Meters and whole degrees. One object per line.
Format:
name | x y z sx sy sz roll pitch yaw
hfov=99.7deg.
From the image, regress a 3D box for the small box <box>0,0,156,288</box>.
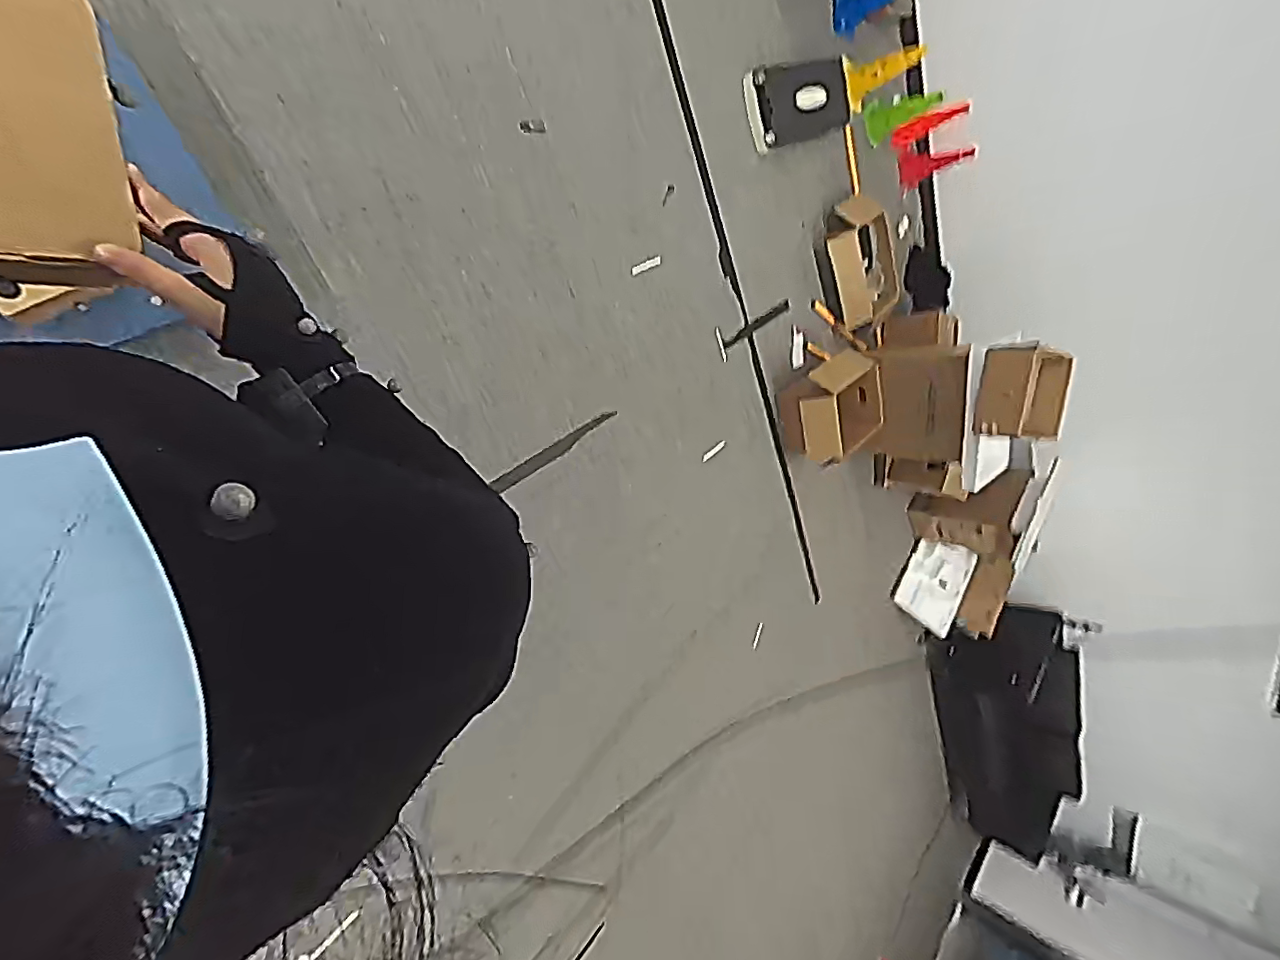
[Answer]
small box | -0.473 -0.242 0.383 0.168 0.176 0.179 -12 108 -42
